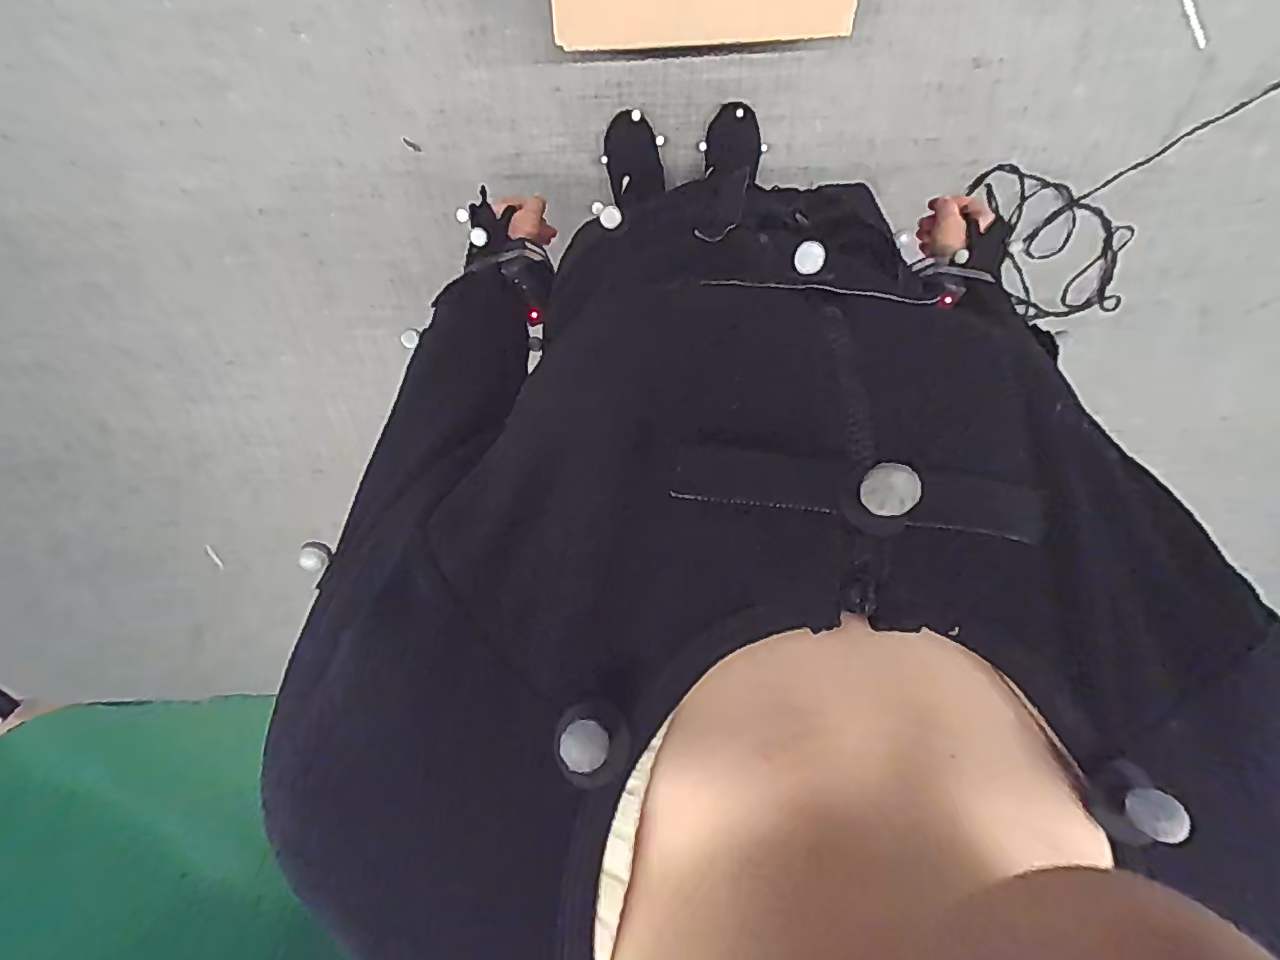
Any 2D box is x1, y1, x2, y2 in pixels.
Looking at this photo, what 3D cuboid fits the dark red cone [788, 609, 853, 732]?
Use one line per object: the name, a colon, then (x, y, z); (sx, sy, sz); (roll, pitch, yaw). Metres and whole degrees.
dark red cone: (0.622, 0.629, 1.783); (0.202, 0.394, 0.201); (-6, 130, 7)
